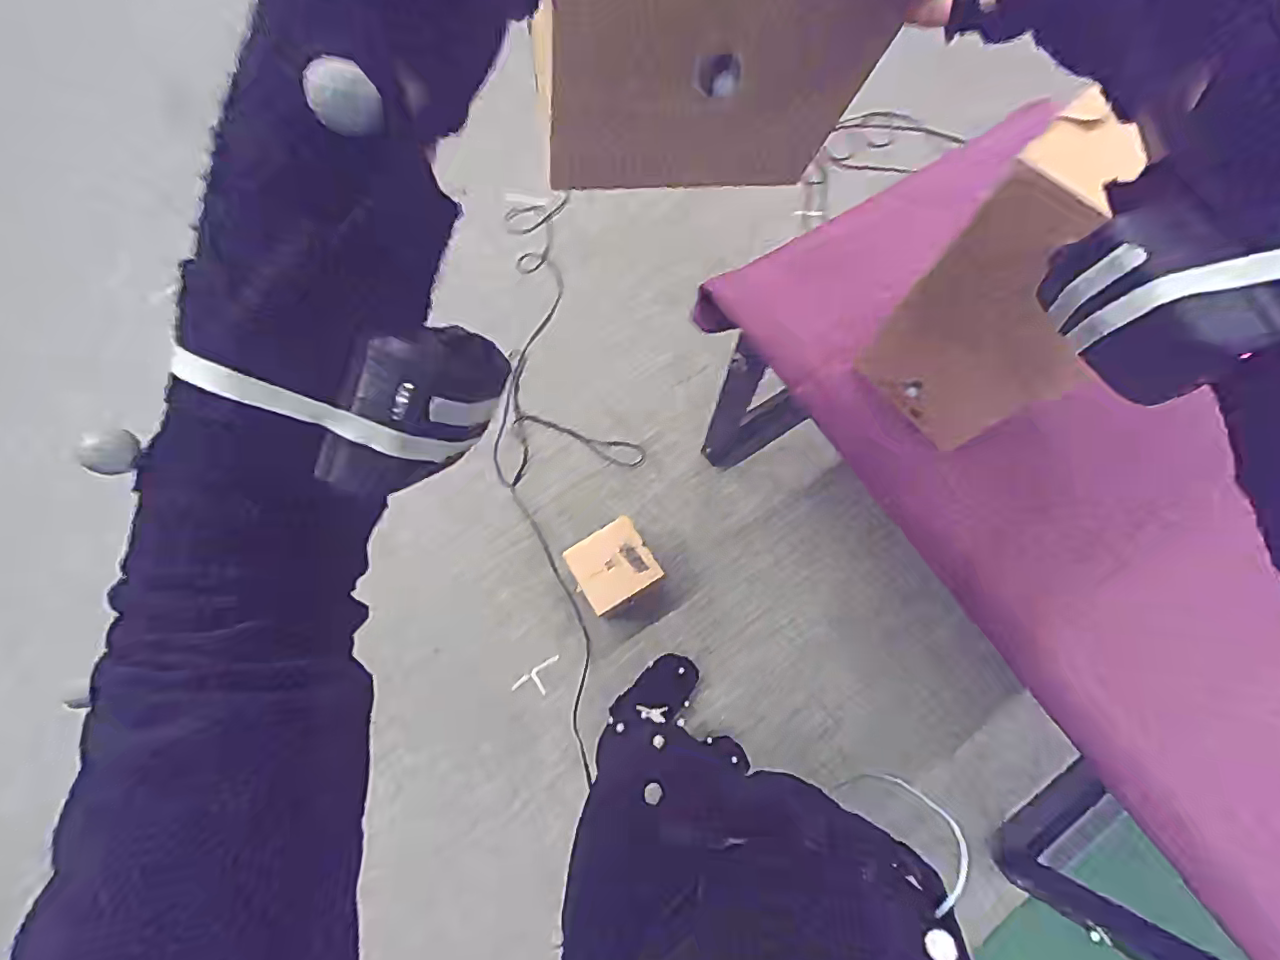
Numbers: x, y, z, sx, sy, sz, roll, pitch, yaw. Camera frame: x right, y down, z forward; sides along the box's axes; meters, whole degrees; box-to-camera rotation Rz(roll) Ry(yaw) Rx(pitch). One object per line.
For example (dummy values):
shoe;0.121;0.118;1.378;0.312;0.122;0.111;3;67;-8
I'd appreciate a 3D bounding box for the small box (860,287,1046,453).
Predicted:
small box;0.404;-0.163;0.649;0.179;0.176;0.168;-37;78;-12

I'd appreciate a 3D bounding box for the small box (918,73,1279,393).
small box;0.403;-0.202;0.490;0.168;0.176;0.179;-42;78;-13
